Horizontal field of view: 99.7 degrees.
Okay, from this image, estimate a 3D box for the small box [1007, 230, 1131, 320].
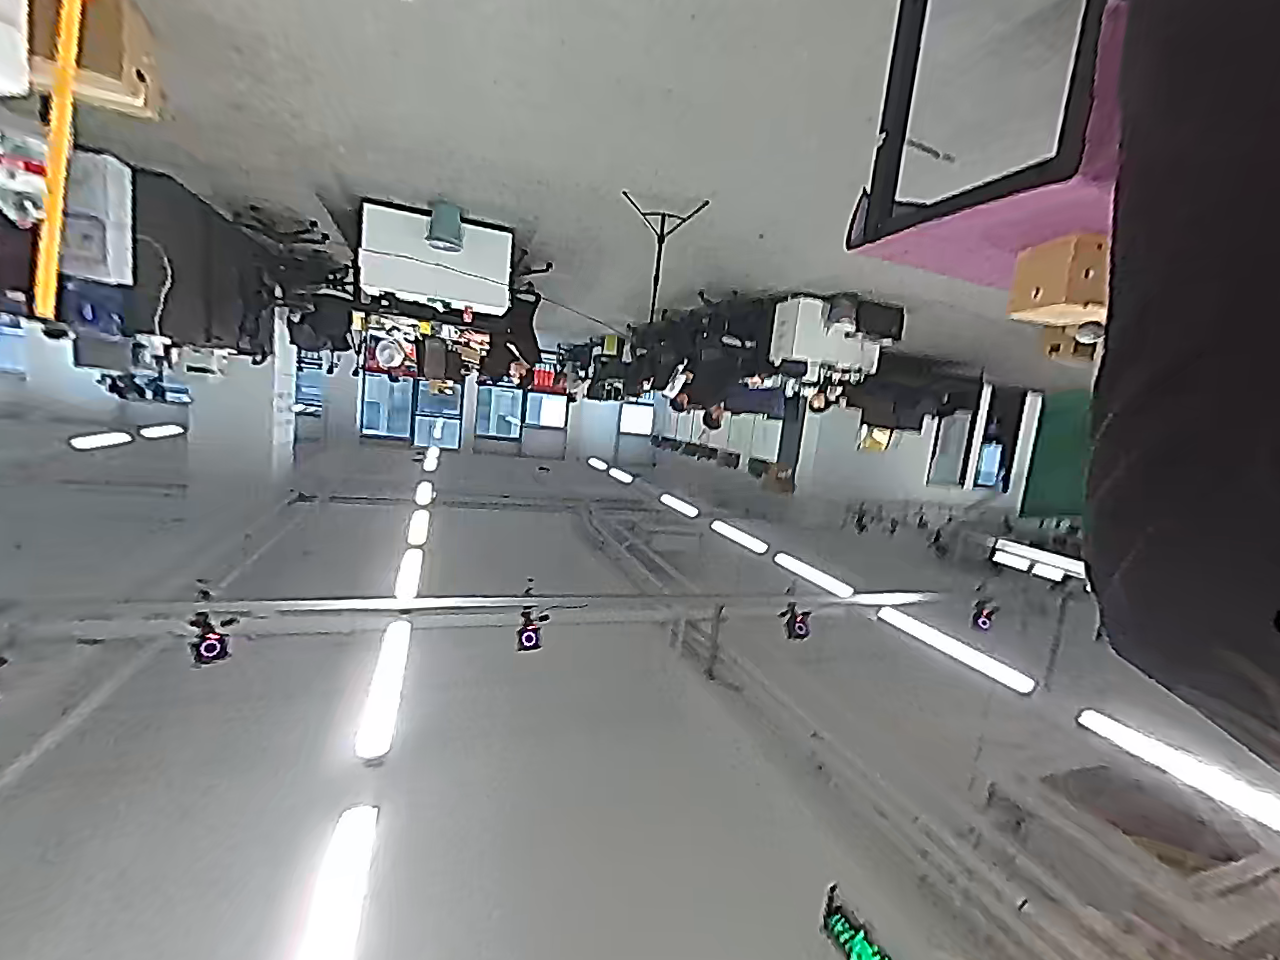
[{"bbox_3d":[1.058,-0.502,1.334,0.168,0.176,0.179,5,-172,-8],"label":"small box"}]
